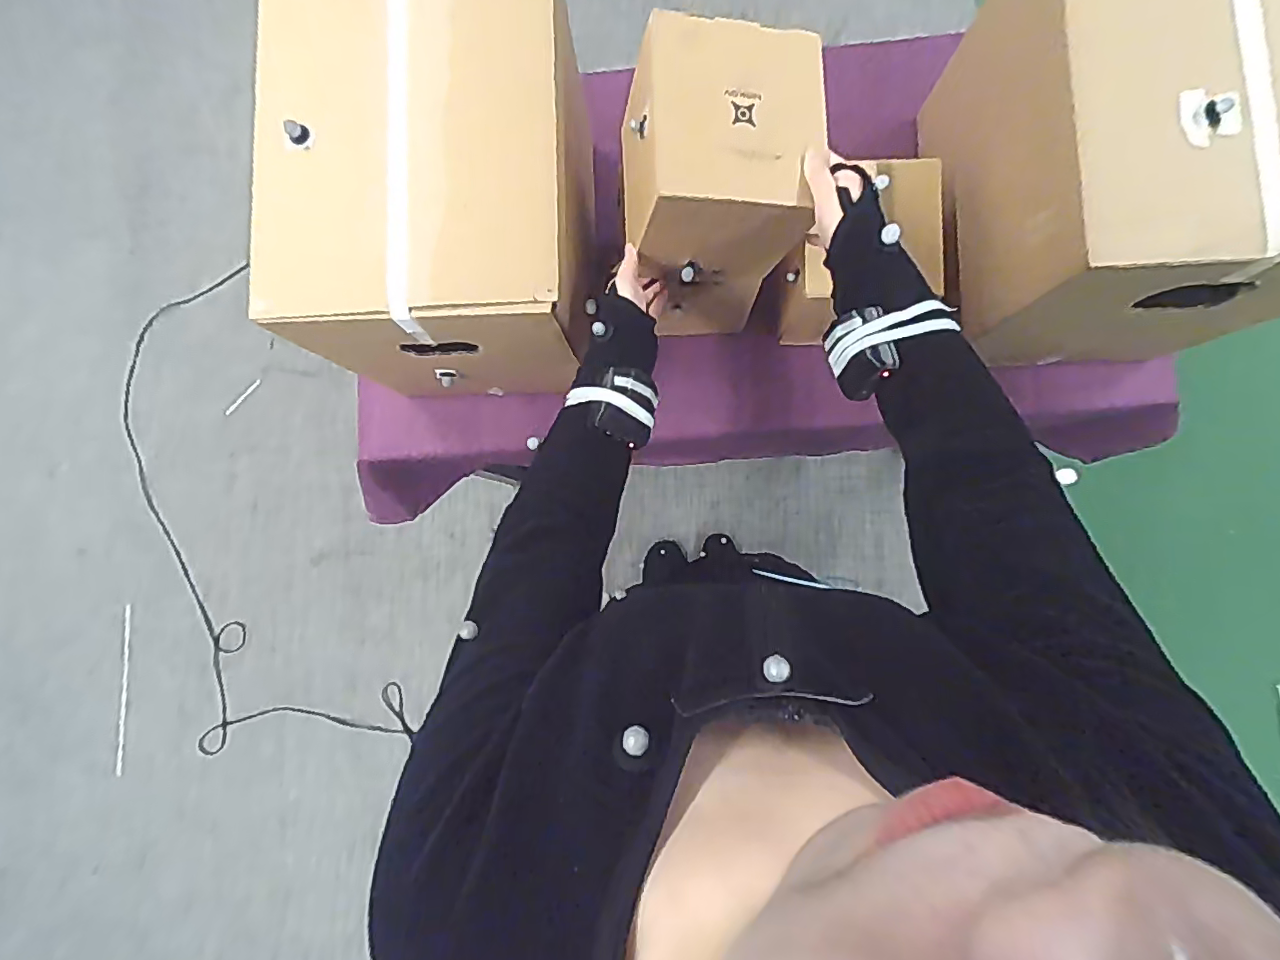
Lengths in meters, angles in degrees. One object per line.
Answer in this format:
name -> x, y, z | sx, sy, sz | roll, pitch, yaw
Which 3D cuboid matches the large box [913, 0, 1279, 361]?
large box -> 0.570, -0.387, 0.666 | 0.320, 0.320, 0.408 | -1, 86, 3
